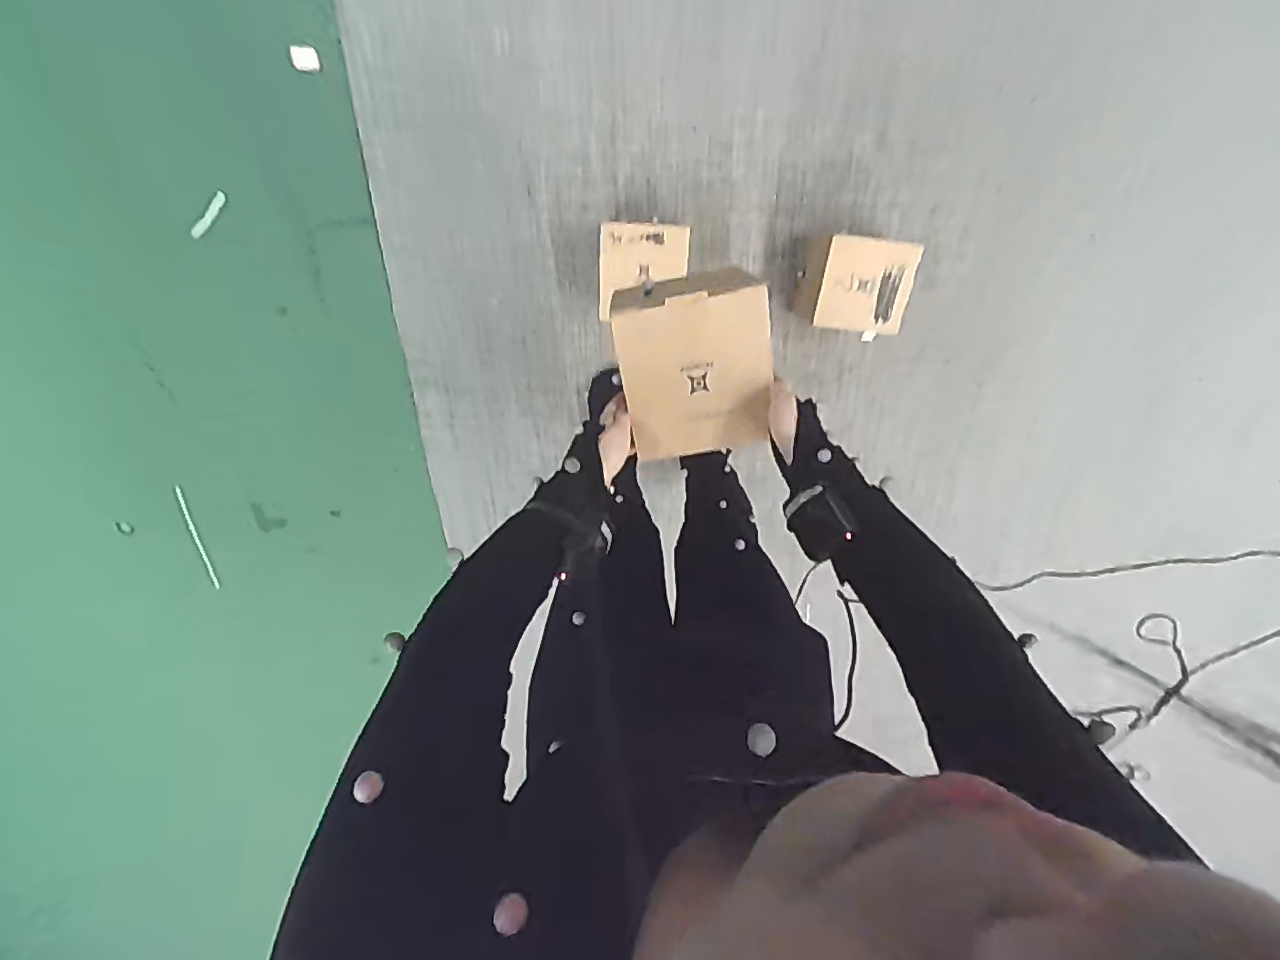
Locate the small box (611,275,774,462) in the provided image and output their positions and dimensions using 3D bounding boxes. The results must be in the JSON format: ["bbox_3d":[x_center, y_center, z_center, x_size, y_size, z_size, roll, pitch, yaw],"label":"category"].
[{"bbox_3d":[0.061,-0.146,0.668,0.168,0.176,0.179,-10,118,5],"label":"small box"}]

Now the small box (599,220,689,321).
[{"bbox_3d":[0.006,-0.424,1.096,0.168,0.176,0.179,3,116,-1],"label":"small box"}]
